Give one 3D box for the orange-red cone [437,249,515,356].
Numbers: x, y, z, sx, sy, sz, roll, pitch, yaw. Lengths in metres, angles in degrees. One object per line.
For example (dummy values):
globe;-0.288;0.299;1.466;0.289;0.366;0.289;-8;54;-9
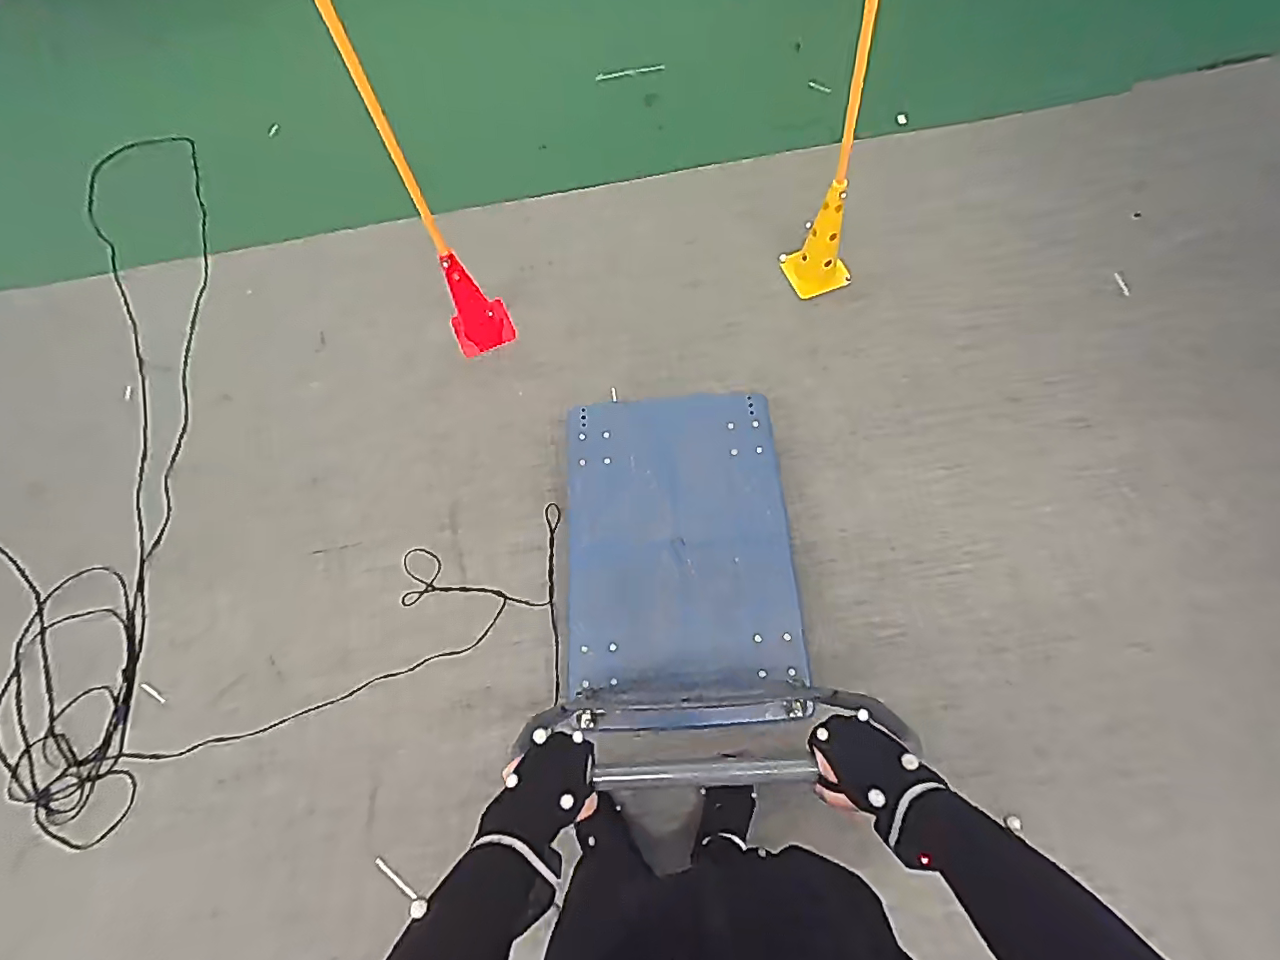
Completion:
orange-red cone;-0.569;-0.601;1.754;0.199;0.360;0.198;-24;68;-4
